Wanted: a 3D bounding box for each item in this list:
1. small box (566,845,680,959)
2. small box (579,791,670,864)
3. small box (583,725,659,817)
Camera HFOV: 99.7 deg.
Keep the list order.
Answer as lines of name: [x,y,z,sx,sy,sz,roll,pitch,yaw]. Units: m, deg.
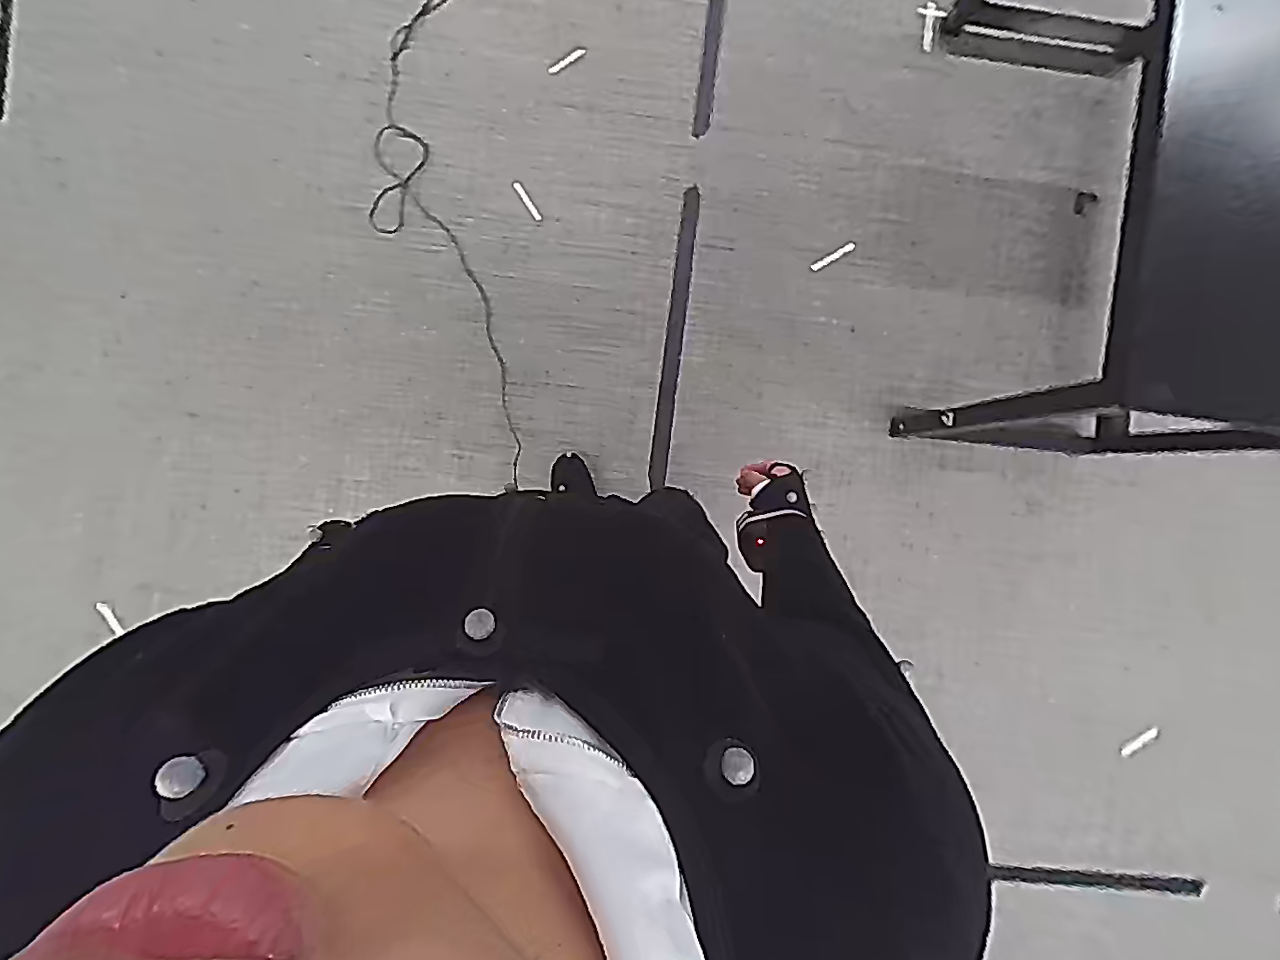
small box: [-0.032,0.770,0.938,0.179,0.176,0.168,6,90,-2]
small box: [-0.038,0.766,1.101,0.168,0.176,0.179,6,91,-2]
small box: [-0.052,0.769,1.428,0.179,0.176,0.168,7,89,-3]
